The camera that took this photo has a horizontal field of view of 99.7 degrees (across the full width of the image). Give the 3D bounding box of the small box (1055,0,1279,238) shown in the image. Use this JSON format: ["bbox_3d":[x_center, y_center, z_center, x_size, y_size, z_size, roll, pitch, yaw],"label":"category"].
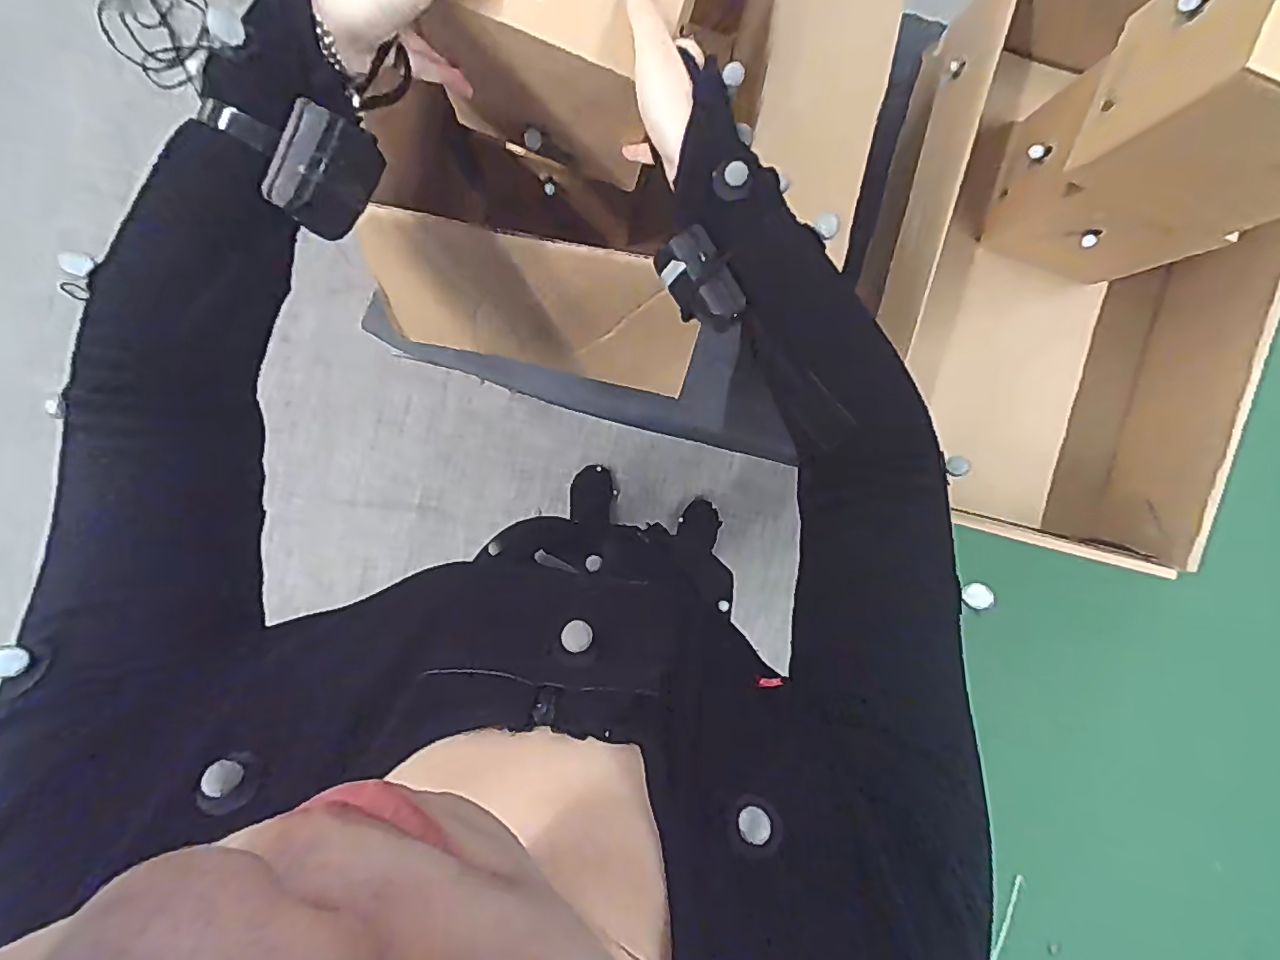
[{"bbox_3d":[0.533,-0.346,0.483,0.179,0.176,0.168,21,94,-6],"label":"small box"}]

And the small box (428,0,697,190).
[{"bbox_3d":[-0.046,-0.366,0.414,0.168,0.176,0.179,19,95,-9],"label":"small box"}]
